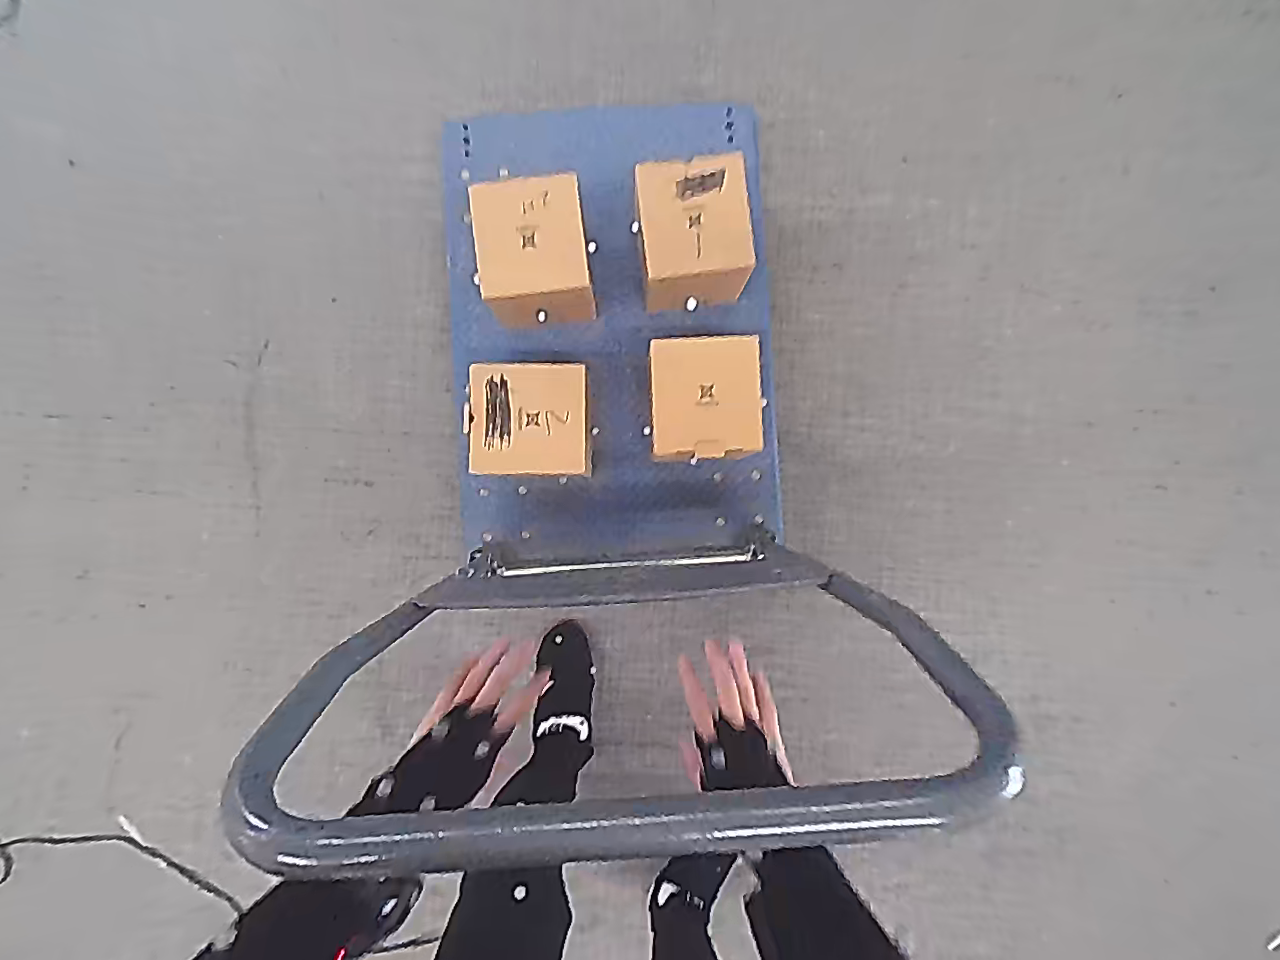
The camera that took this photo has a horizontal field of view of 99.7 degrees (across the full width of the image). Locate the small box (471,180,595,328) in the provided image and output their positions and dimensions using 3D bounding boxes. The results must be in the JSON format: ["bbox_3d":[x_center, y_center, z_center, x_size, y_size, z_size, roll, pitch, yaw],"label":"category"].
[{"bbox_3d":[-0.167,-0.359,0.895,0.168,0.176,0.179,-6,89,-2],"label":"small box"}]

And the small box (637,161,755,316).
[{"bbox_3d":[0.084,-0.391,0.898,0.168,0.176,0.179,-7,90,0],"label":"small box"}]

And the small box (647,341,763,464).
[{"bbox_3d":[0.099,-0.121,0.896,0.168,0.176,0.179,-2,89,-1],"label":"small box"}]
